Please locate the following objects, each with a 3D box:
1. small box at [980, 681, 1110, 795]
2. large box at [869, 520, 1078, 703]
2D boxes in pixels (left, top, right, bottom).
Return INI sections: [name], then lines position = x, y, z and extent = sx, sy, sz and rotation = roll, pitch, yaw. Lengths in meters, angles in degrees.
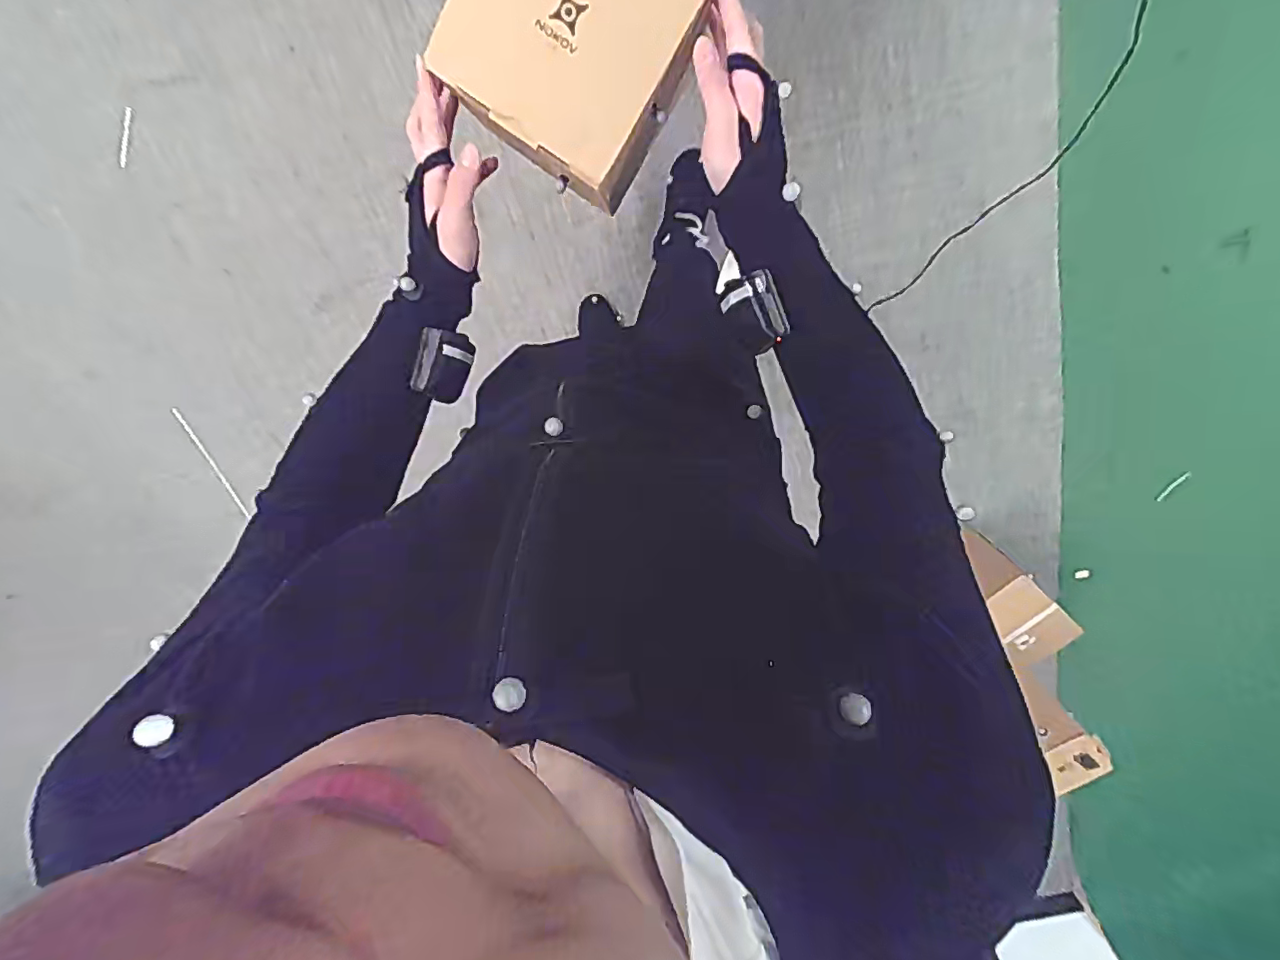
[small box]
position = 1.027, 0.653, 1.383
extent = 0.179, 0.176, 0.168
rotation = -40, 108, 16
[large box]
position = 1.032, 0.412, 1.726
extent = 0.320, 0.320, 0.408
rotation = 38, 107, -16
